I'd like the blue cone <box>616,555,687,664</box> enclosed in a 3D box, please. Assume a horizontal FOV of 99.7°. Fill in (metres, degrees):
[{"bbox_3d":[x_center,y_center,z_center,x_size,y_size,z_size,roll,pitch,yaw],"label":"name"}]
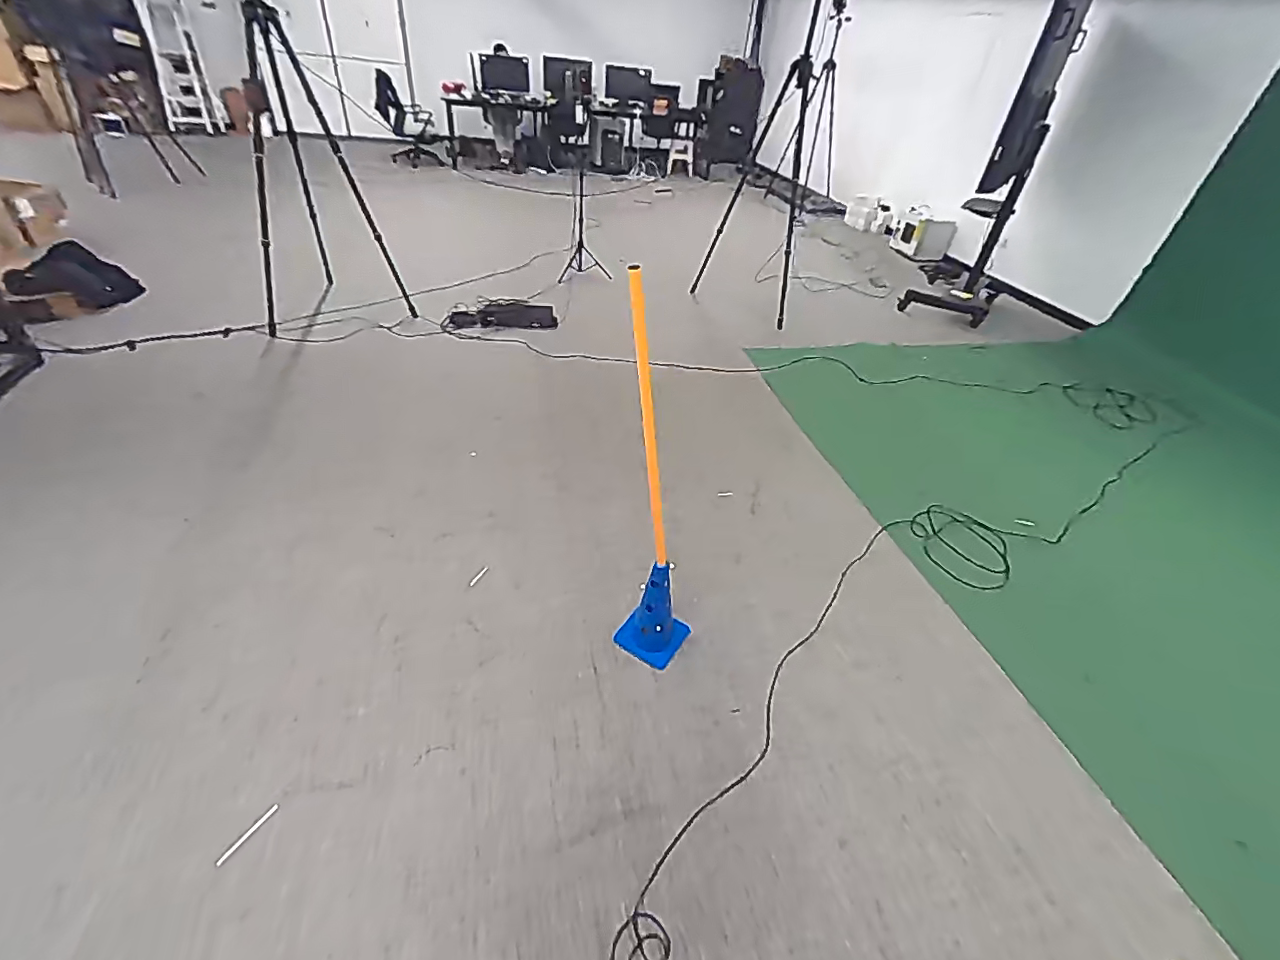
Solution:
[{"bbox_3d":[0.045,0.377,1.661,0.193,0.380,0.192,23,43,22],"label":"blue cone"}]
